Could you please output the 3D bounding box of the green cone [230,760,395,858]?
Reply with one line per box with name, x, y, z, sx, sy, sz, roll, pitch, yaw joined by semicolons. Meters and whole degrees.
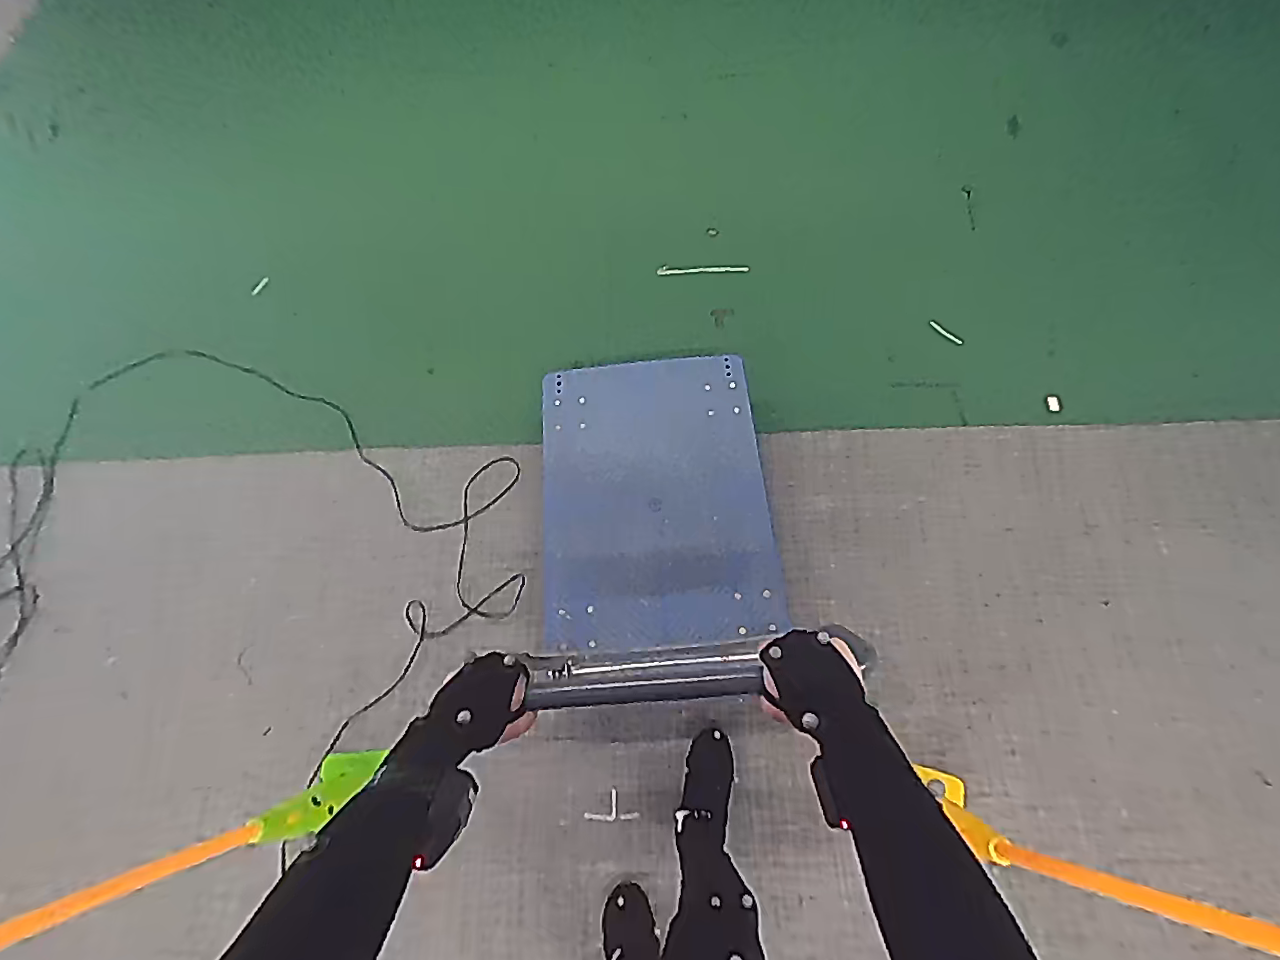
green cone;-0.712;0.727;1.154;0.202;0.368;0.200;-6;66;3
